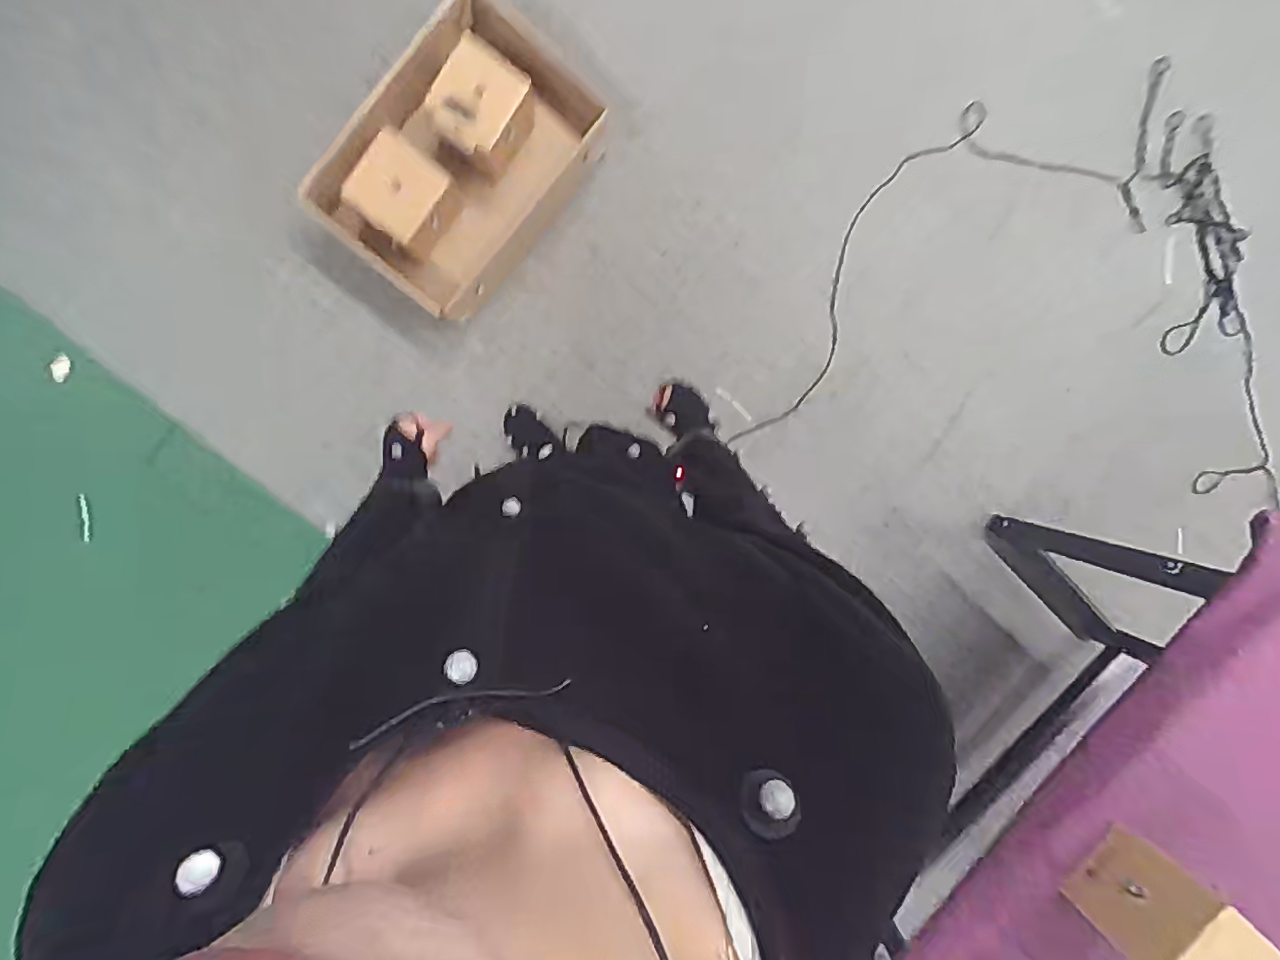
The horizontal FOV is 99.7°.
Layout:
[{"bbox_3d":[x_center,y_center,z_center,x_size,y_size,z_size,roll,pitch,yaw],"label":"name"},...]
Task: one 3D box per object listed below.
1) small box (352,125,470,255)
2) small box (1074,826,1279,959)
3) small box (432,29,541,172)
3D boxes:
[{"bbox_3d":[-0.517,-0.655,1.250,0.168,0.176,0.179,36,92,-11],"label":"small box"},{"bbox_3d":[0.883,0.720,0.891,0.179,0.176,0.168,42,93,-11],"label":"small box"},{"bbox_3d":[-0.340,-0.853,1.241,0.168,0.176,0.179,33,94,-10],"label":"small box"}]
